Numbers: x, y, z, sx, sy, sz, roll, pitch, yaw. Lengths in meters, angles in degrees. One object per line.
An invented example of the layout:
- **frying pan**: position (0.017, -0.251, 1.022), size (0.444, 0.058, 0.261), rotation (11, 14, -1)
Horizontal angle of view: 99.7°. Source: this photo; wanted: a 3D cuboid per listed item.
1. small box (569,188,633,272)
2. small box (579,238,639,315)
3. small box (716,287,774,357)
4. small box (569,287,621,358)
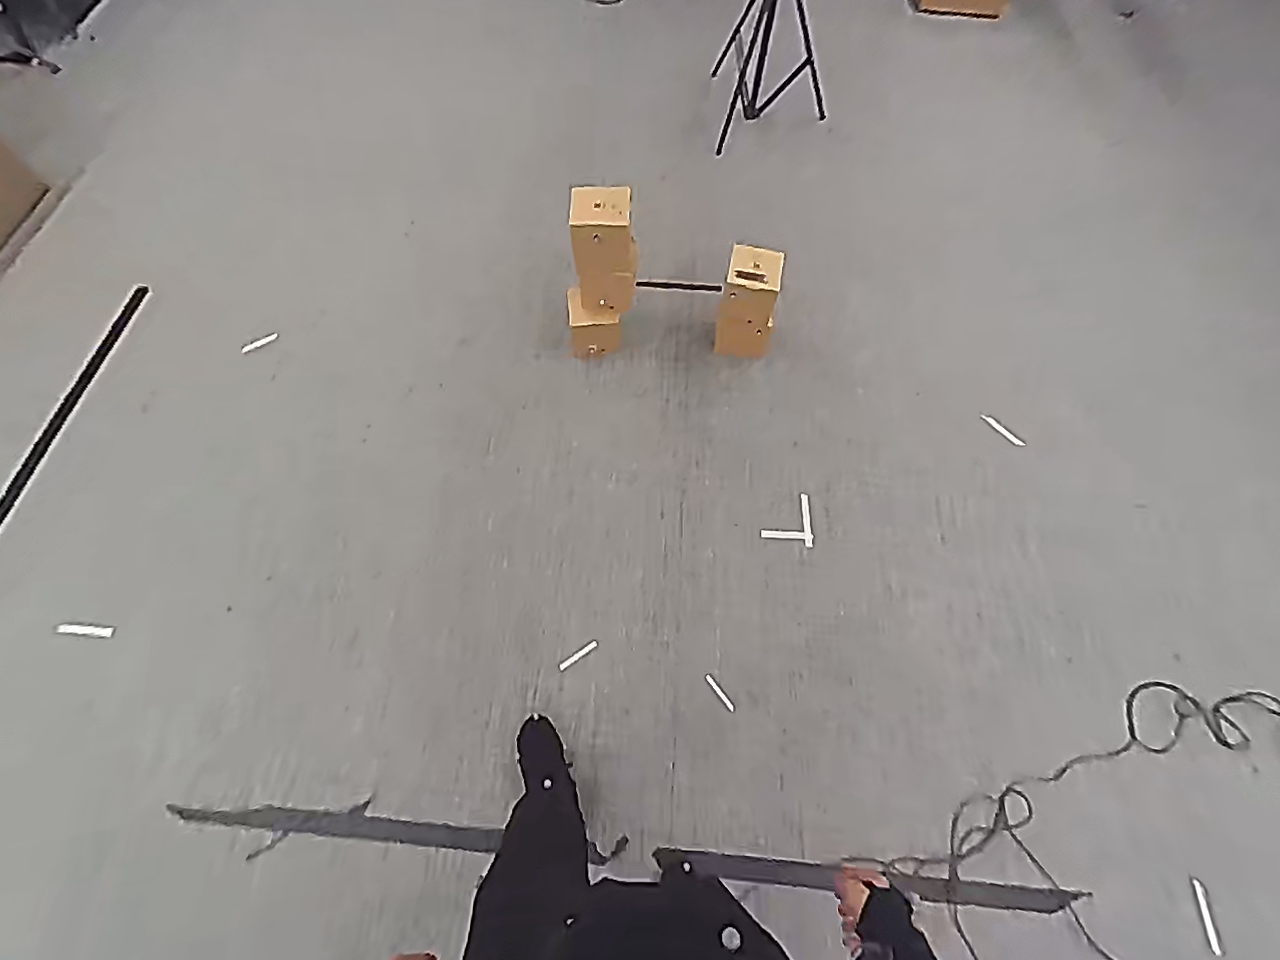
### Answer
- **small box**: position (-0.111, -0.746, 1.622), size (0.179, 0.176, 0.168), rotation (1, 63, 0)
- **small box**: position (-0.097, -0.673, 1.768), size (0.168, 0.176, 0.179), rotation (7, 64, 4)
- **small box**: position (0.364, -0.552, 1.901), size (0.179, 0.176, 0.168), rotation (6, 64, 1)
- **small box**: position (-0.156, -0.552, 1.890), size (0.168, 0.176, 0.179), rotation (-6, 65, -3)
